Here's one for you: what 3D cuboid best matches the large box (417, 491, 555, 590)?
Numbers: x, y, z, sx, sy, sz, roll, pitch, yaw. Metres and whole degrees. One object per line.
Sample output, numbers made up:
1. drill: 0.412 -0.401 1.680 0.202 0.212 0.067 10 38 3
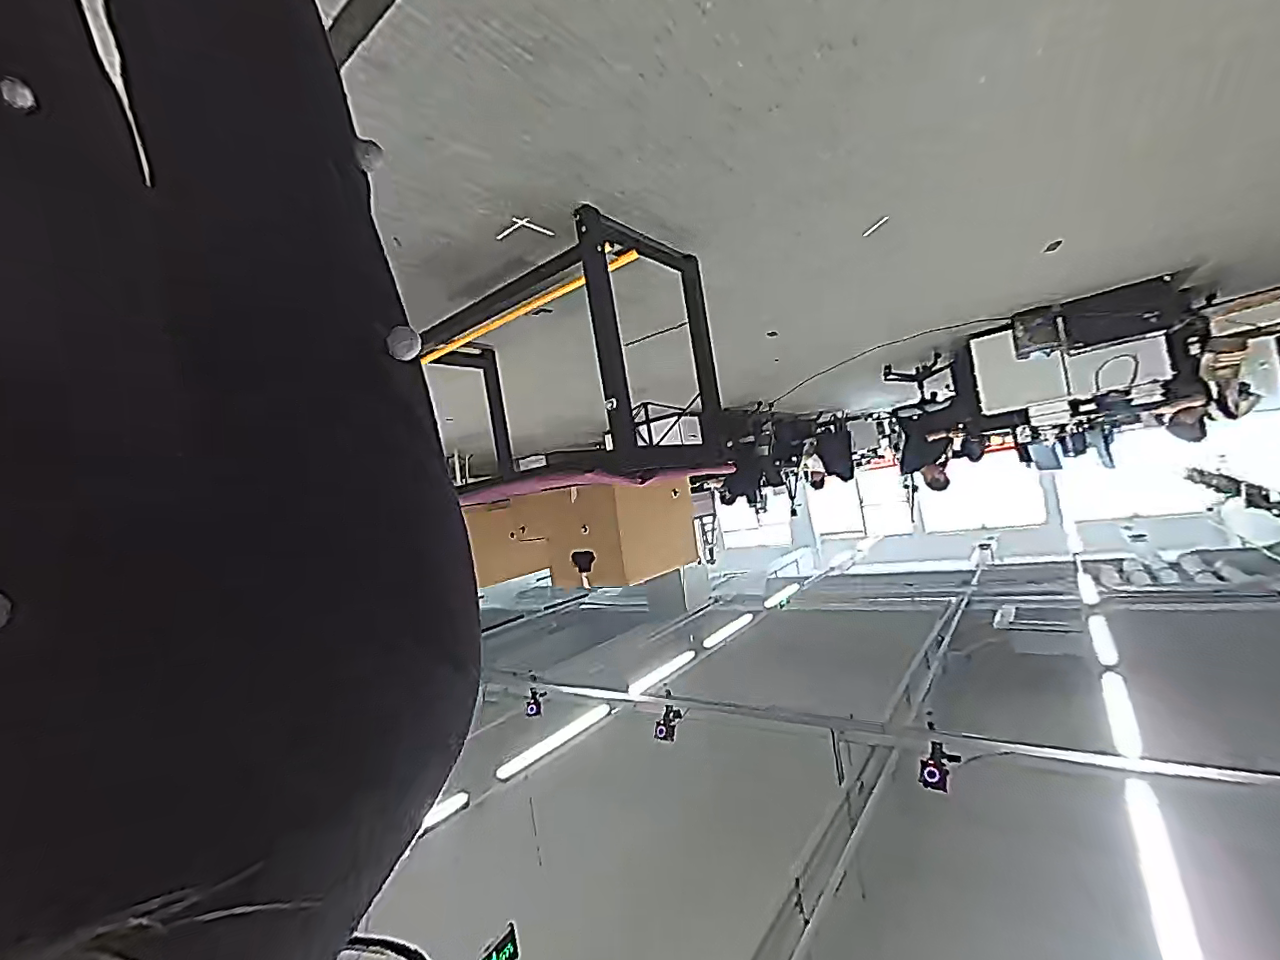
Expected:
1. large box: -0.614 0.237 2.174 0.320 0.320 0.408 -10 180 37
